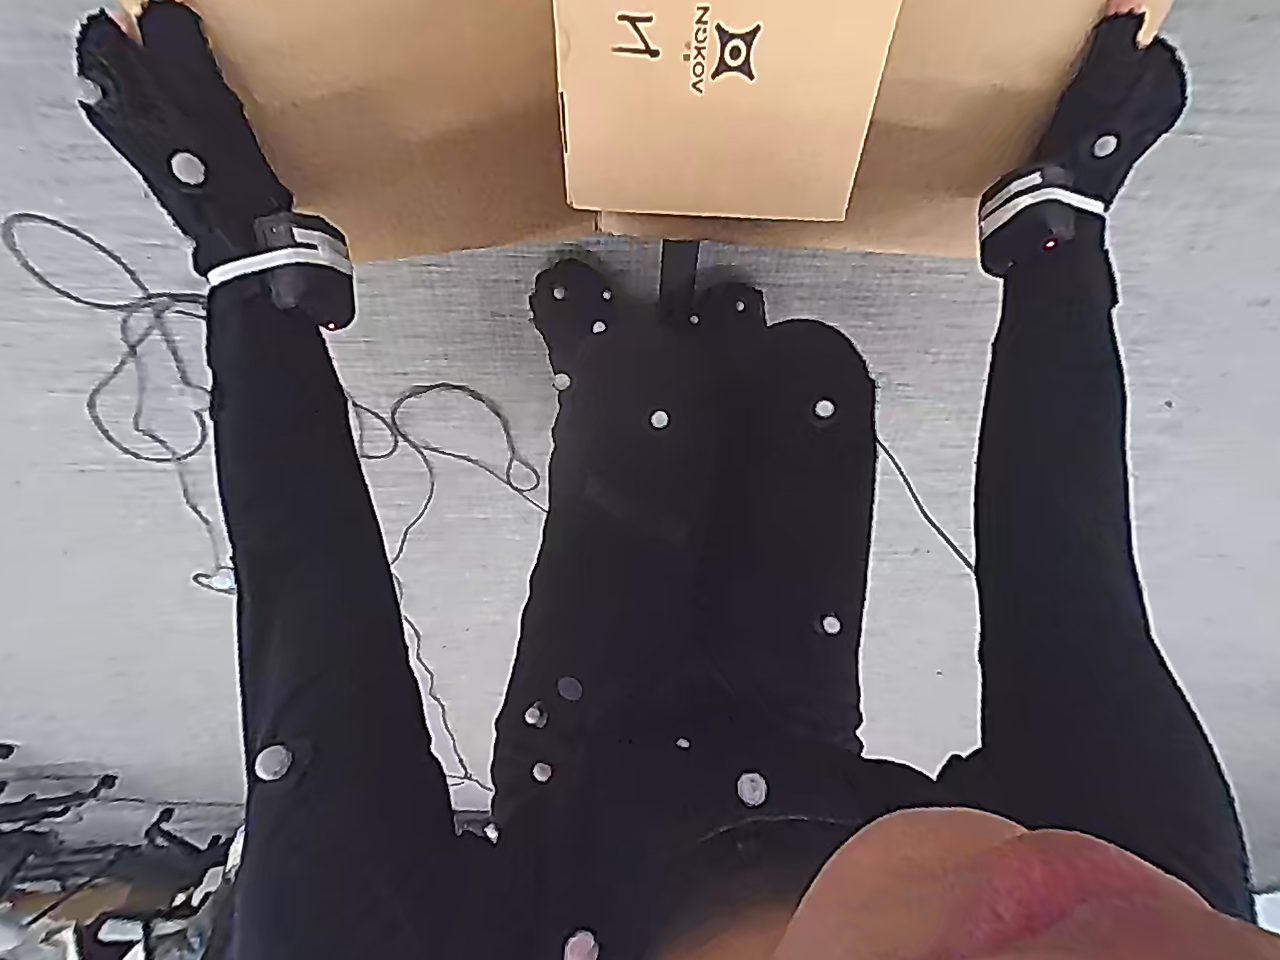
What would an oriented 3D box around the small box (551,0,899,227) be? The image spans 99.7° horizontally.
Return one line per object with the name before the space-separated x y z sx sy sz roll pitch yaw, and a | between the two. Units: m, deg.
small box | 0.046 -0.279 0.343 0.179 0.176 0.168 5 134 3
